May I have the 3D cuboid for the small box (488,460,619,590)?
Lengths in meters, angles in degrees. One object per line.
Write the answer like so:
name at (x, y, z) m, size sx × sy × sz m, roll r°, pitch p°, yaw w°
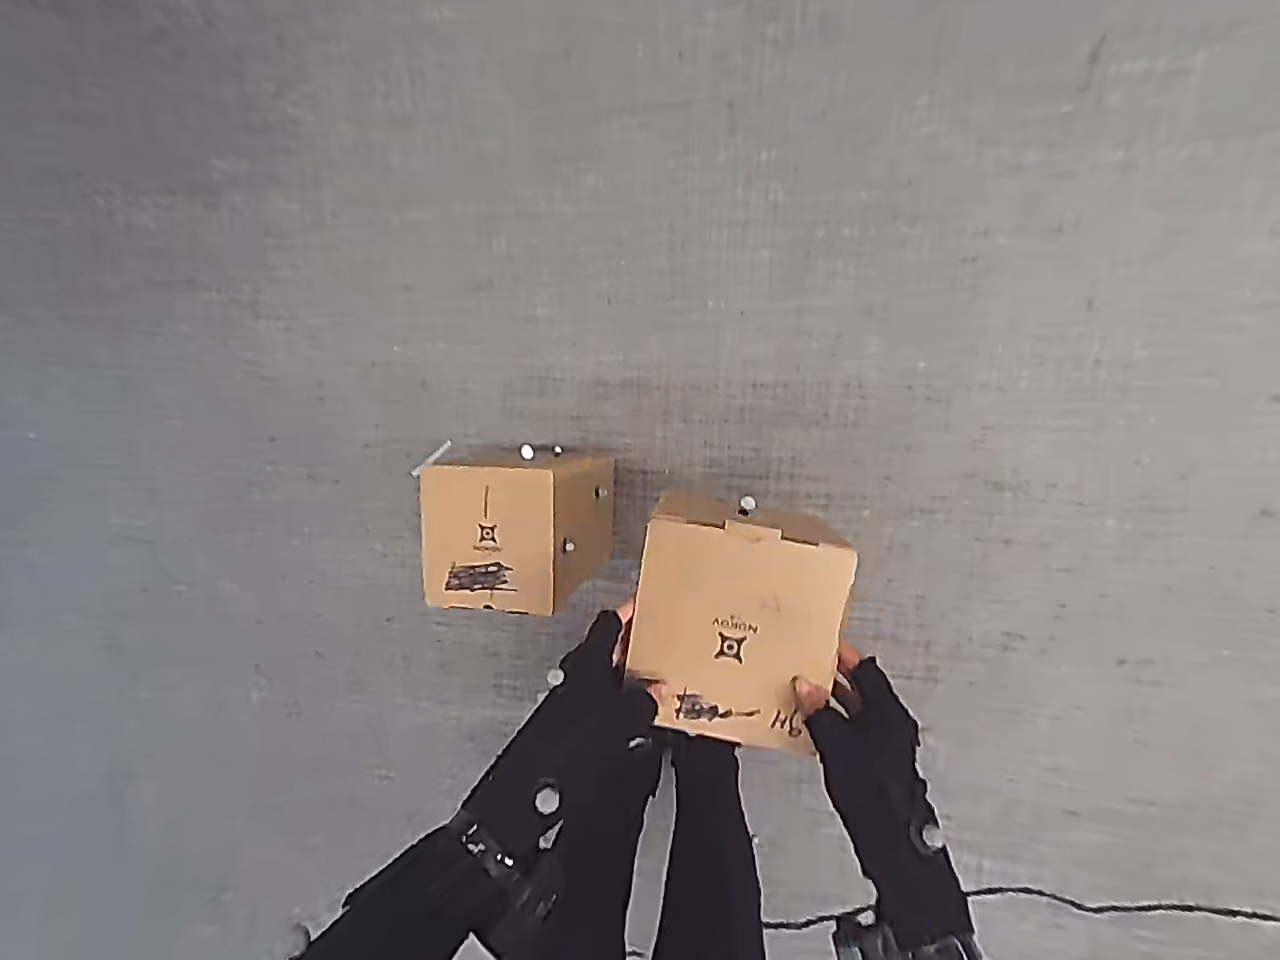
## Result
small box at (-0.131, 0.061, 0.867) m, size 0.168 × 0.176 × 0.179 m, roll 3°, pitch 98°, yaw 10°

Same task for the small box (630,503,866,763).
small box at (0.092, 0.124, 0.512) m, size 0.168 × 0.176 × 0.179 m, roll 9°, pitch 95°, yaw 6°
